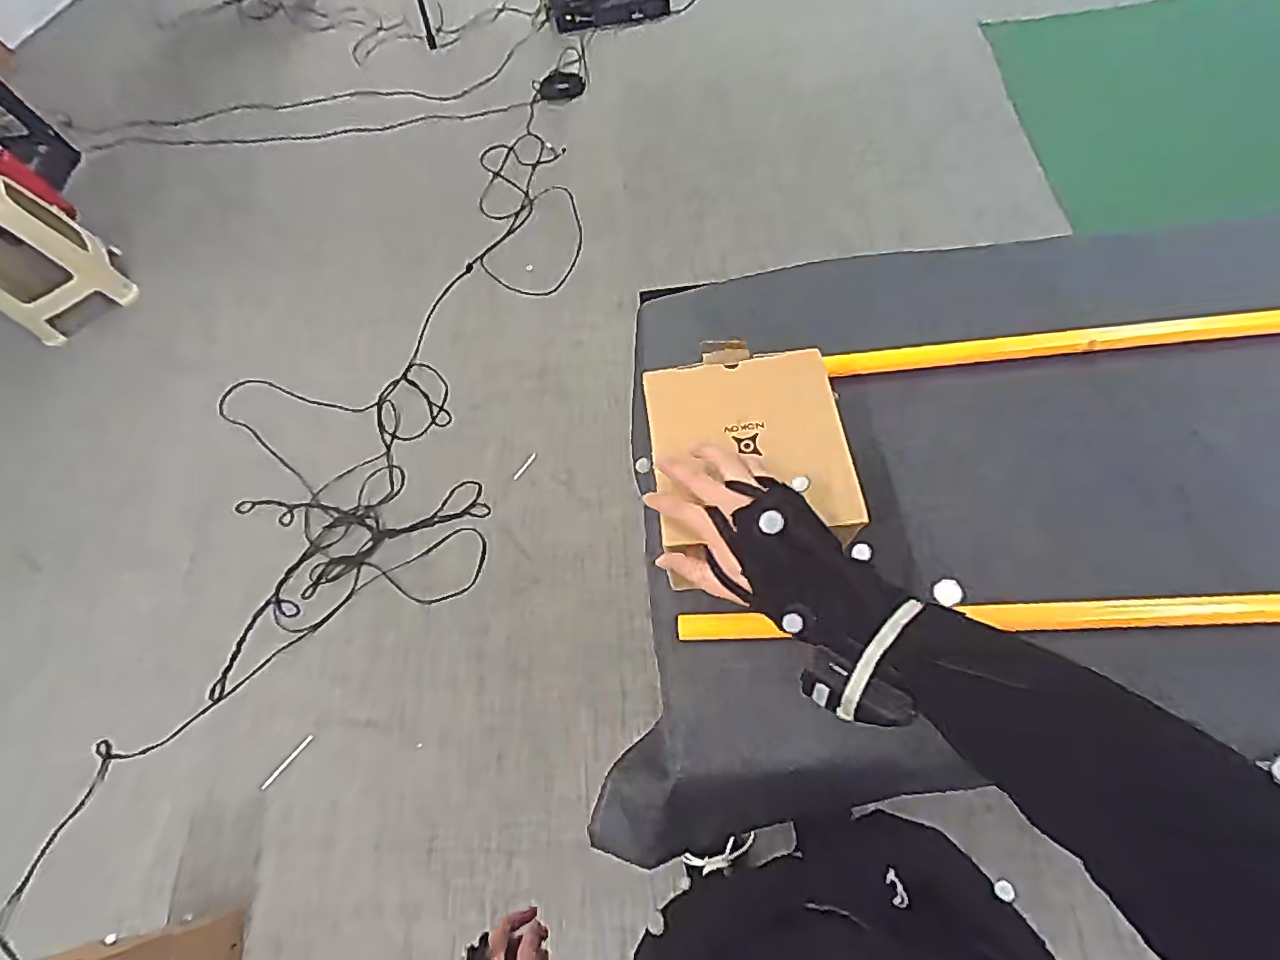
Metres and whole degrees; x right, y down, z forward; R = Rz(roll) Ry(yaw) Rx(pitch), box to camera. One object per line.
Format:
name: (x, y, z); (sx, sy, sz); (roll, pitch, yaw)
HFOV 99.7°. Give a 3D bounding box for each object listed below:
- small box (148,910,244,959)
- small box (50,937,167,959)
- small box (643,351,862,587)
small box: (-0.902, 0.962, 1.026); (0.179, 0.176, 0.168); (-17, 68, 0)
small box: (-0.930, 0.885, 0.878); (0.168, 0.176, 0.179); (-9, 63, 2)
small box: (0.100, 0.002, 0.540); (0.168, 0.176, 0.179); (-8, 64, 3)
